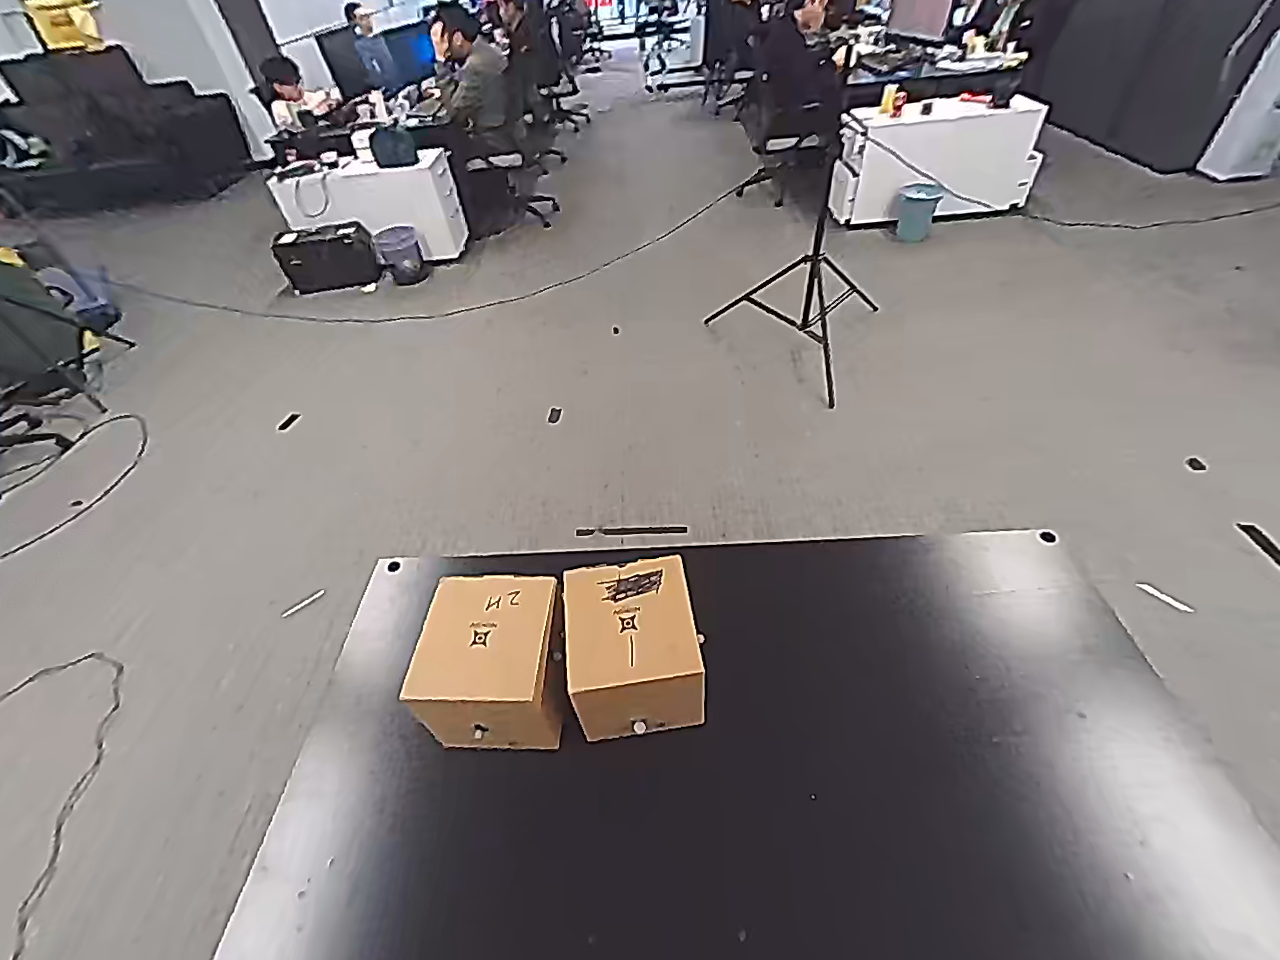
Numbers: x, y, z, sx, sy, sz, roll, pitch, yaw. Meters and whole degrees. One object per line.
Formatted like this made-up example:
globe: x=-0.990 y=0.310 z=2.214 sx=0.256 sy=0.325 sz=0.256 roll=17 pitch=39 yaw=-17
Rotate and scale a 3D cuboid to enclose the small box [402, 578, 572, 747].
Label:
small box: x=-0.195 y=0.257 z=0.755 sx=0.168 sy=0.176 sz=0.179 roll=-1 pitch=45 yaw=4
